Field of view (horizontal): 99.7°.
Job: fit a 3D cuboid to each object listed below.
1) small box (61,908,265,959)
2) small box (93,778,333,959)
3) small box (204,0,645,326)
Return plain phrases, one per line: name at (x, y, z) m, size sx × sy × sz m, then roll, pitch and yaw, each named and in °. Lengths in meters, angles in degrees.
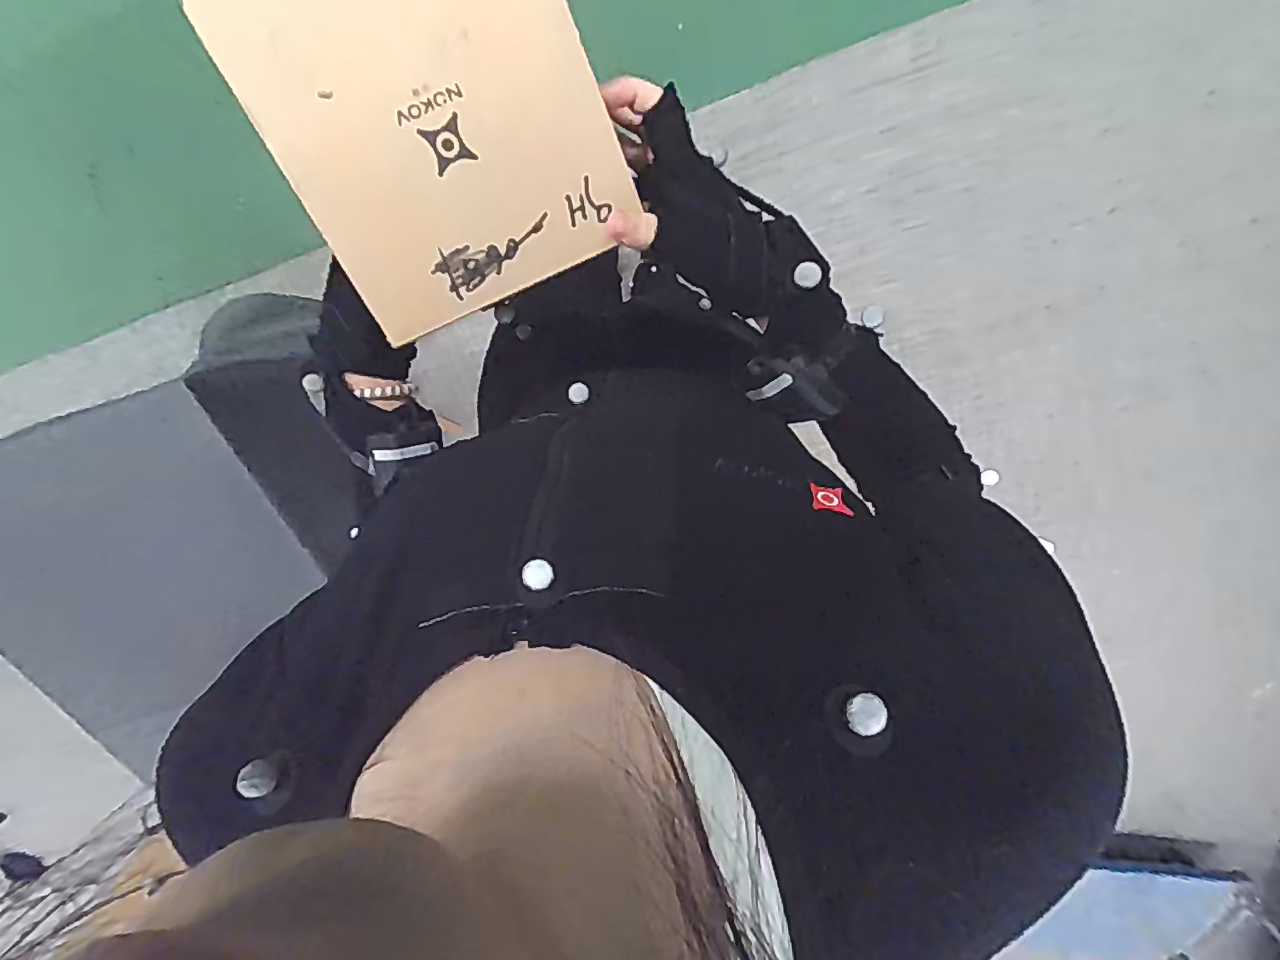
small box at (-0.598, 0.641, 0.637) m, size 0.168 × 0.176 × 0.179 m, roll -15°, pitch 115°, yaw 8°
small box at (-0.599, 0.572, 0.787) m, size 0.179 × 0.176 × 0.168 m, roll -17°, pitch 114°, yaw 8°
small box at (-0.113, -0.222, 0.355) m, size 0.168 × 0.176 × 0.179 m, roll -23°, pitch 115°, yaw 2°
